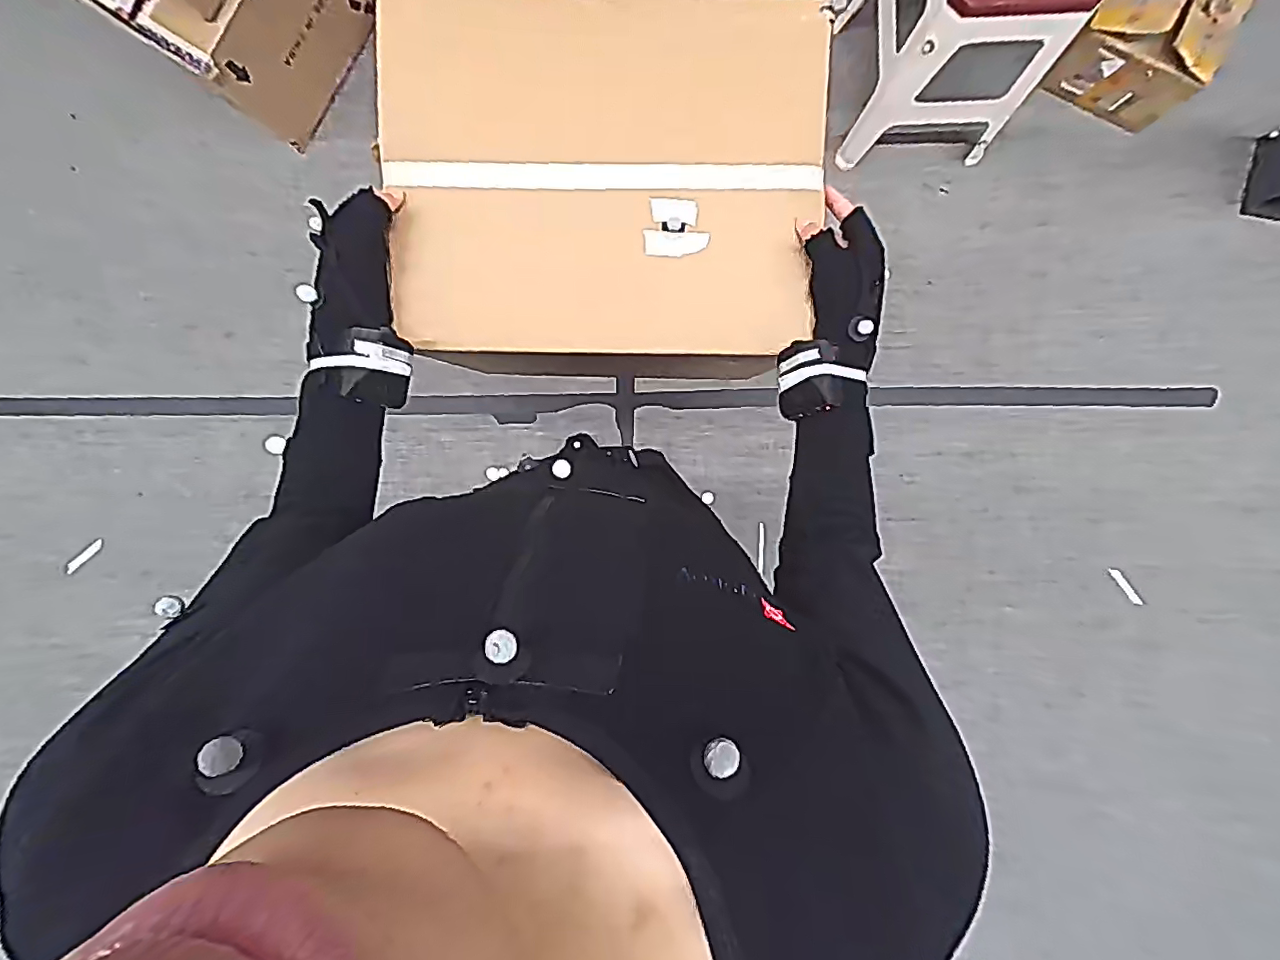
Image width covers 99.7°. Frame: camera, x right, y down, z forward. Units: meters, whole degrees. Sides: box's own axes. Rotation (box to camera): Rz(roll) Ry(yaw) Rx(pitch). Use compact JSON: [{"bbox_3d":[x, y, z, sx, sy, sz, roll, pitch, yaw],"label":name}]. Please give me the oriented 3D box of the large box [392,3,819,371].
[{"bbox_3d":[-0.034,-0.305,0.664,0.408,0.320,0.320,0,98,-1],"label":"large box"}]
